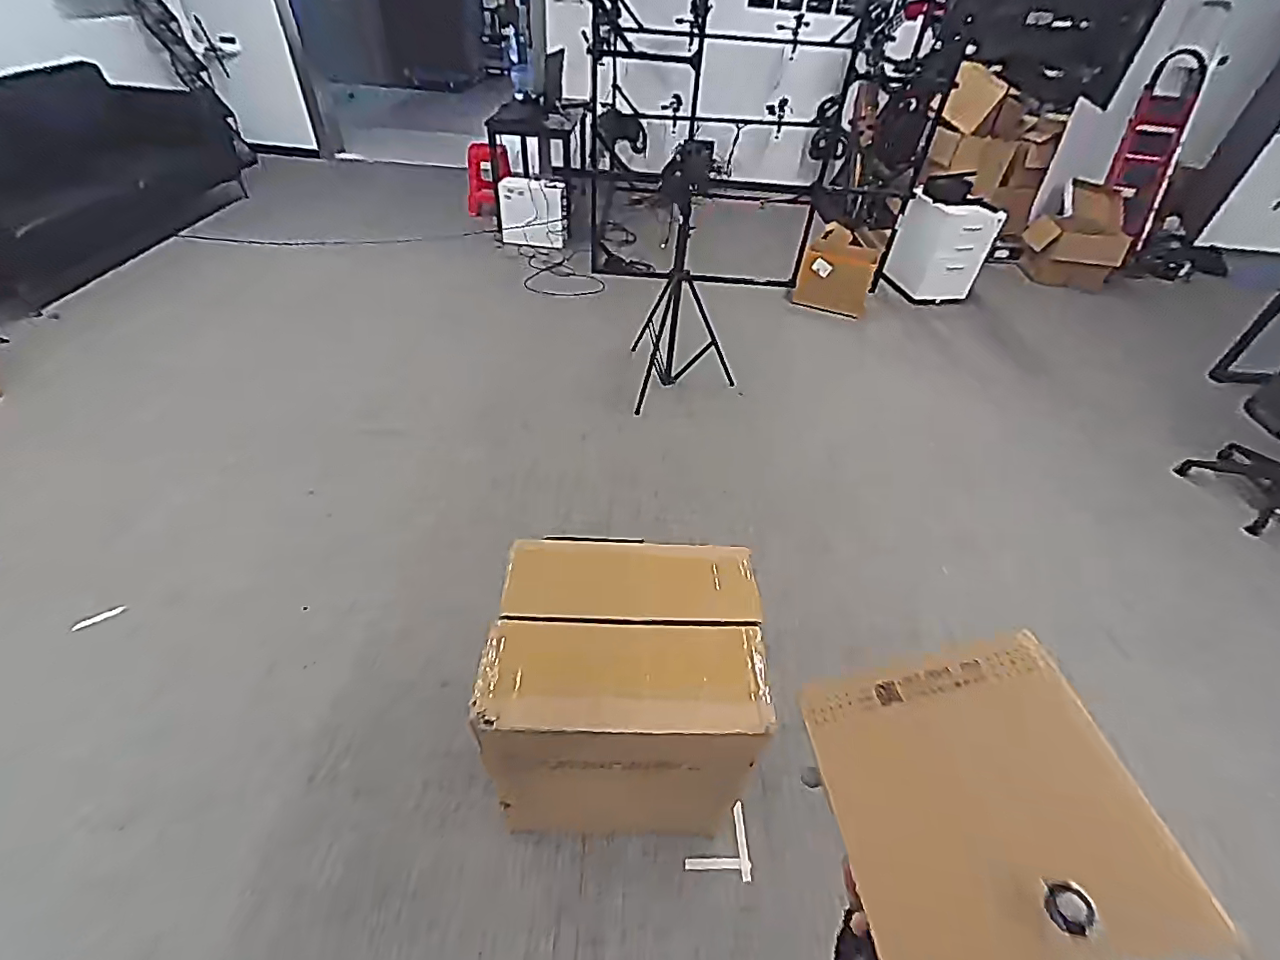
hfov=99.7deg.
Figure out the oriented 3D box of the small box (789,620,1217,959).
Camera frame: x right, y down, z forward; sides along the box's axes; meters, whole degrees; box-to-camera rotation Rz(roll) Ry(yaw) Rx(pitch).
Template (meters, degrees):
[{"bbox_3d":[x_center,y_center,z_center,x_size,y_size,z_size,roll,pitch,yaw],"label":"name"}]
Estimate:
[{"bbox_3d":[0.221,0.226,0.386,0.168,0.179,0.176,-21,45,10],"label":"small box"}]
